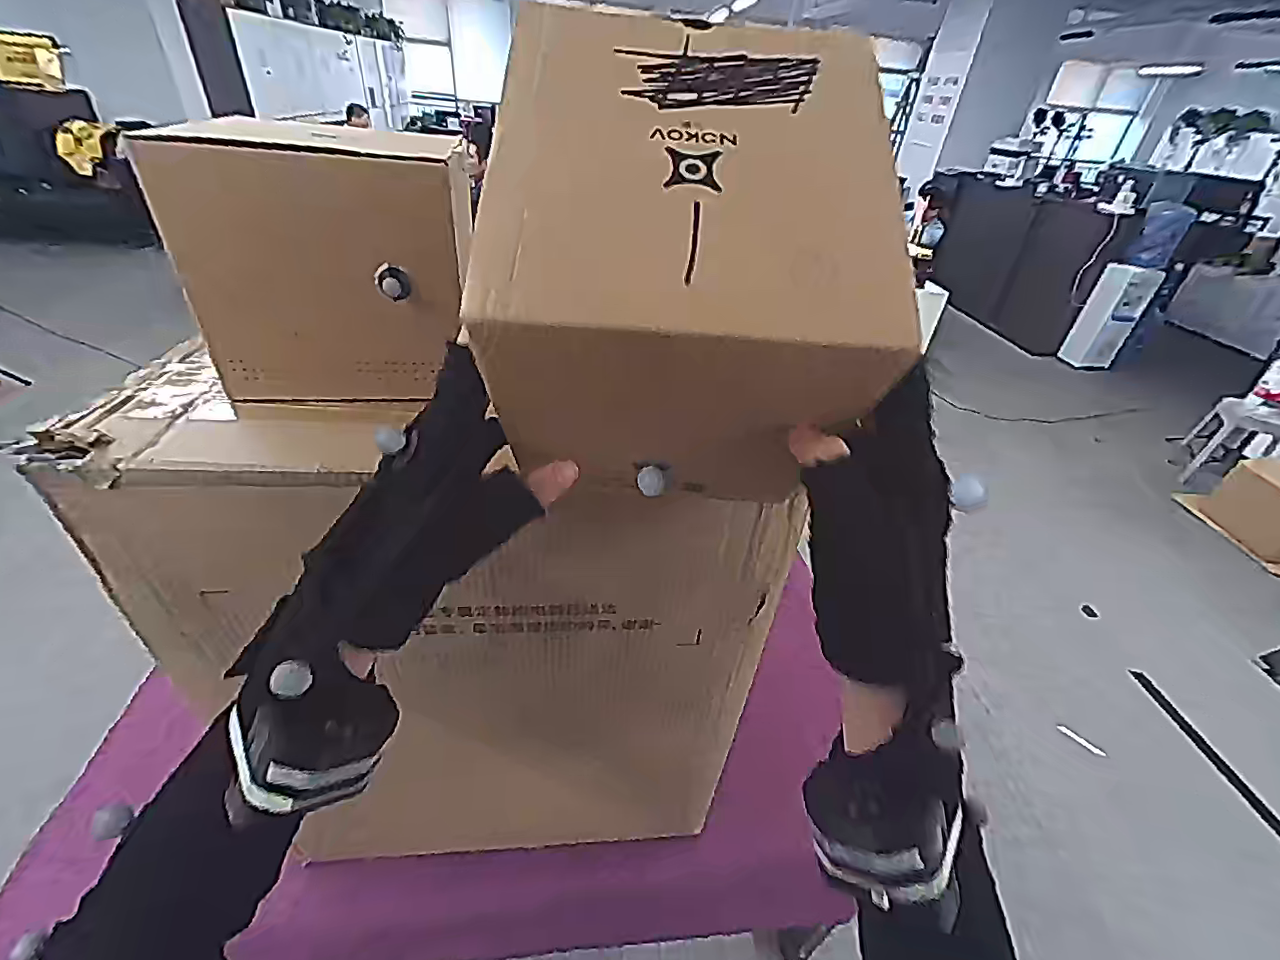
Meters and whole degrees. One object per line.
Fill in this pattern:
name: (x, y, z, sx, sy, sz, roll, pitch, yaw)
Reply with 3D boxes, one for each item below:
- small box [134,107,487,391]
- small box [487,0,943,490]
small box: (-0.216, -0.178, 0.423, 0.179, 0.176, 0.168, -3, 36, -12)
small box: (0.027, -0.111, 0.297, 0.168, 0.176, 0.179, 4, 66, -2)
